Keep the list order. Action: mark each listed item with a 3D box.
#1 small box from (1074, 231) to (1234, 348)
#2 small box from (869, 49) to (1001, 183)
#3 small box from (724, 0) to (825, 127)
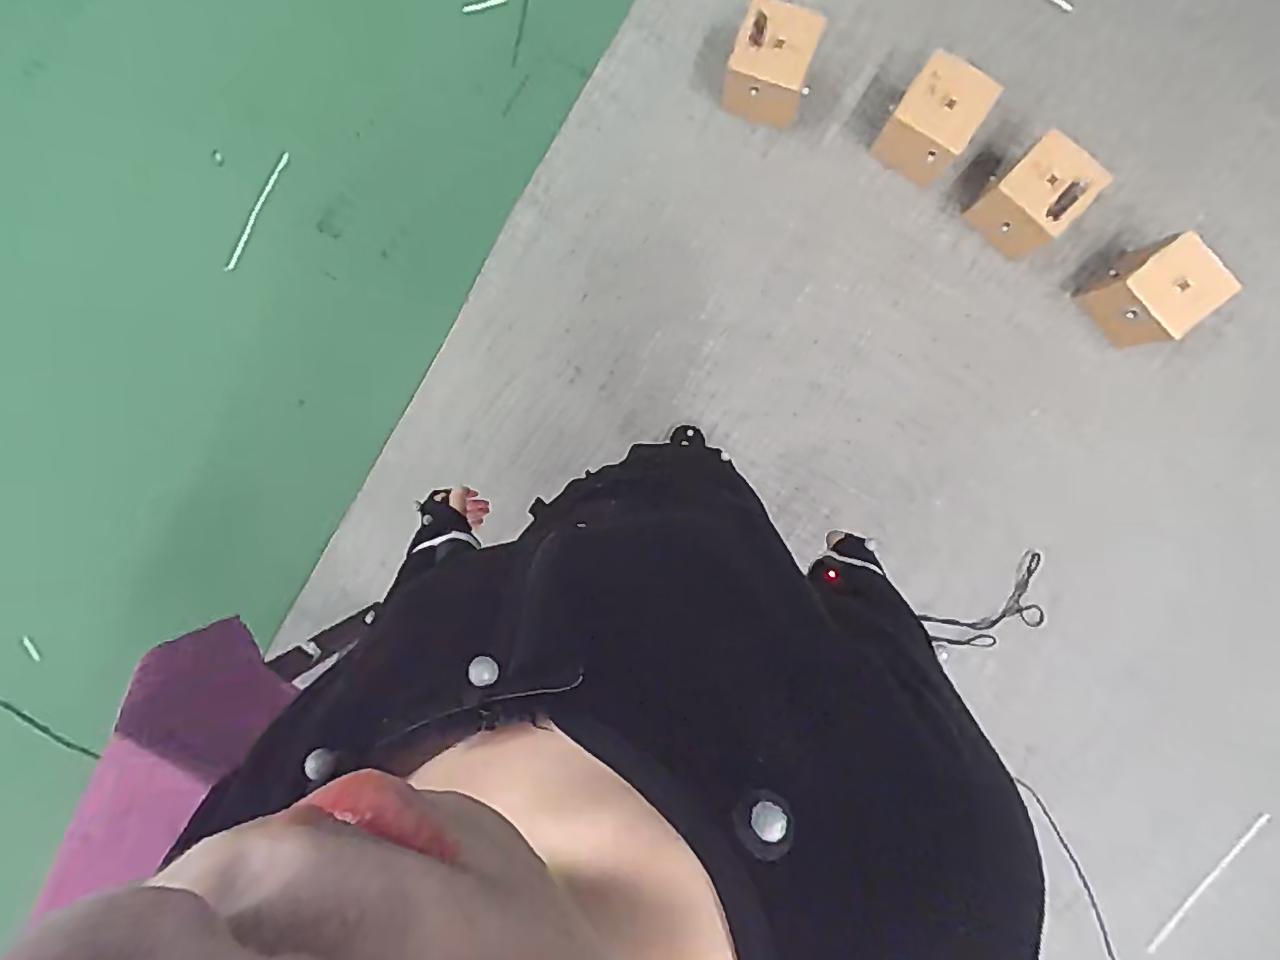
[{"bbox_3d":[1.172,-0.428,1.252,0.168,0.176,0.179,-41,91,8],"label":"small box"},{"bbox_3d":[0.676,-0.832,1.261,0.179,0.176,0.168,34,97,2],"label":"small box"},{"bbox_3d":[0.308,-0.982,1.285,0.179,0.176,0.168,21,97,3],"label":"small box"}]
